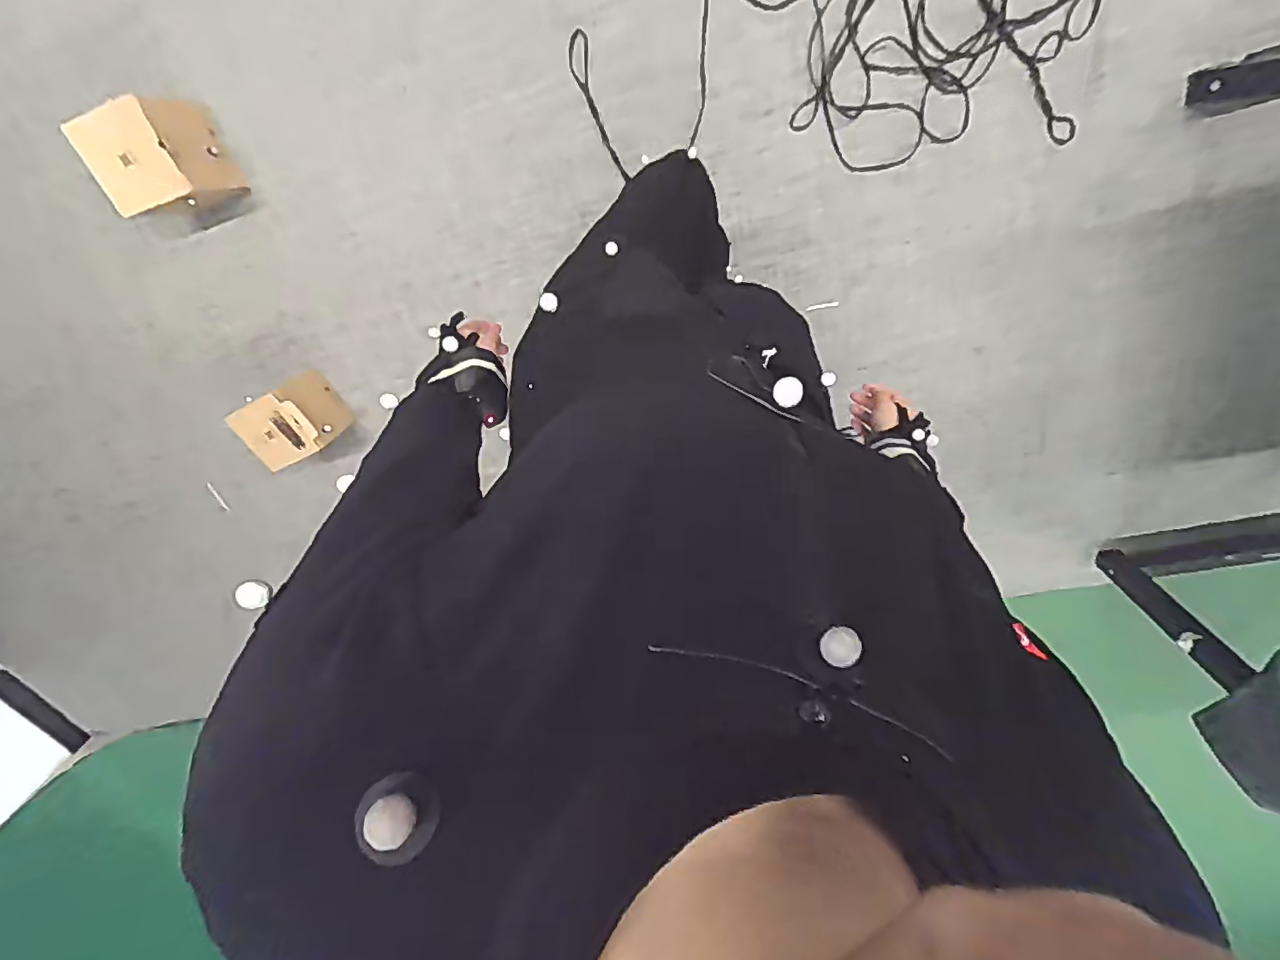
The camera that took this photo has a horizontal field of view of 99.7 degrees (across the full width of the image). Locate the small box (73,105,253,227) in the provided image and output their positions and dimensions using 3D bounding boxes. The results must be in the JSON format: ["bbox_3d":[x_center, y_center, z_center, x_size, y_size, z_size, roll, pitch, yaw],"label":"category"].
[{"bbox_3d":[-0.949,-0.628,1.096,0.179,0.176,0.168,-13,118,11],"label":"small box"}]
